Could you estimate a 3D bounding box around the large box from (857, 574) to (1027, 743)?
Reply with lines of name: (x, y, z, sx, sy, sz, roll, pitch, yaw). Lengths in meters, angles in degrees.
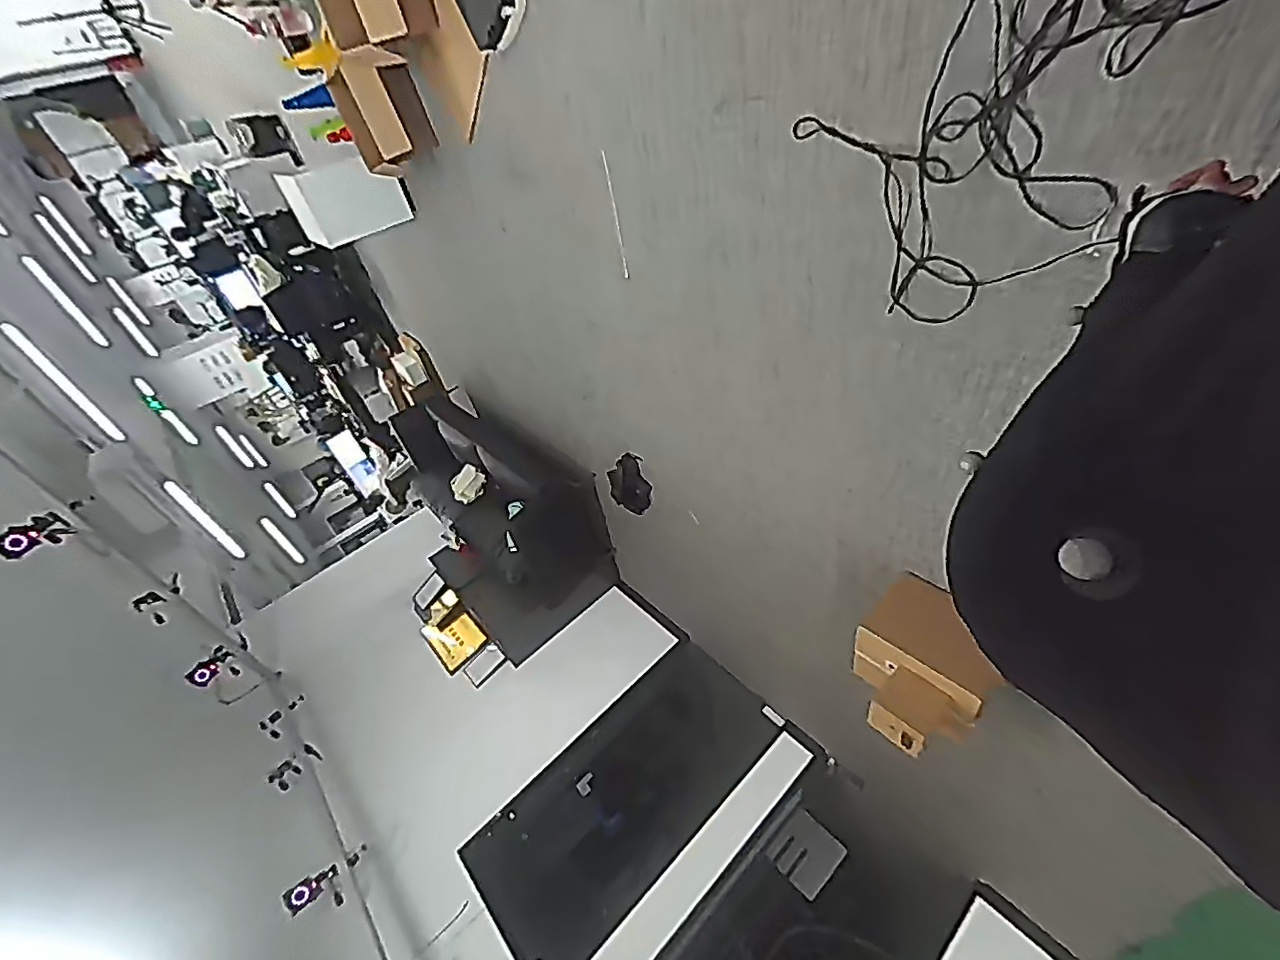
large box: (1.026, 0.602, 1.873, 0.408, 0.320, 0.320, 32, 147, 42)
